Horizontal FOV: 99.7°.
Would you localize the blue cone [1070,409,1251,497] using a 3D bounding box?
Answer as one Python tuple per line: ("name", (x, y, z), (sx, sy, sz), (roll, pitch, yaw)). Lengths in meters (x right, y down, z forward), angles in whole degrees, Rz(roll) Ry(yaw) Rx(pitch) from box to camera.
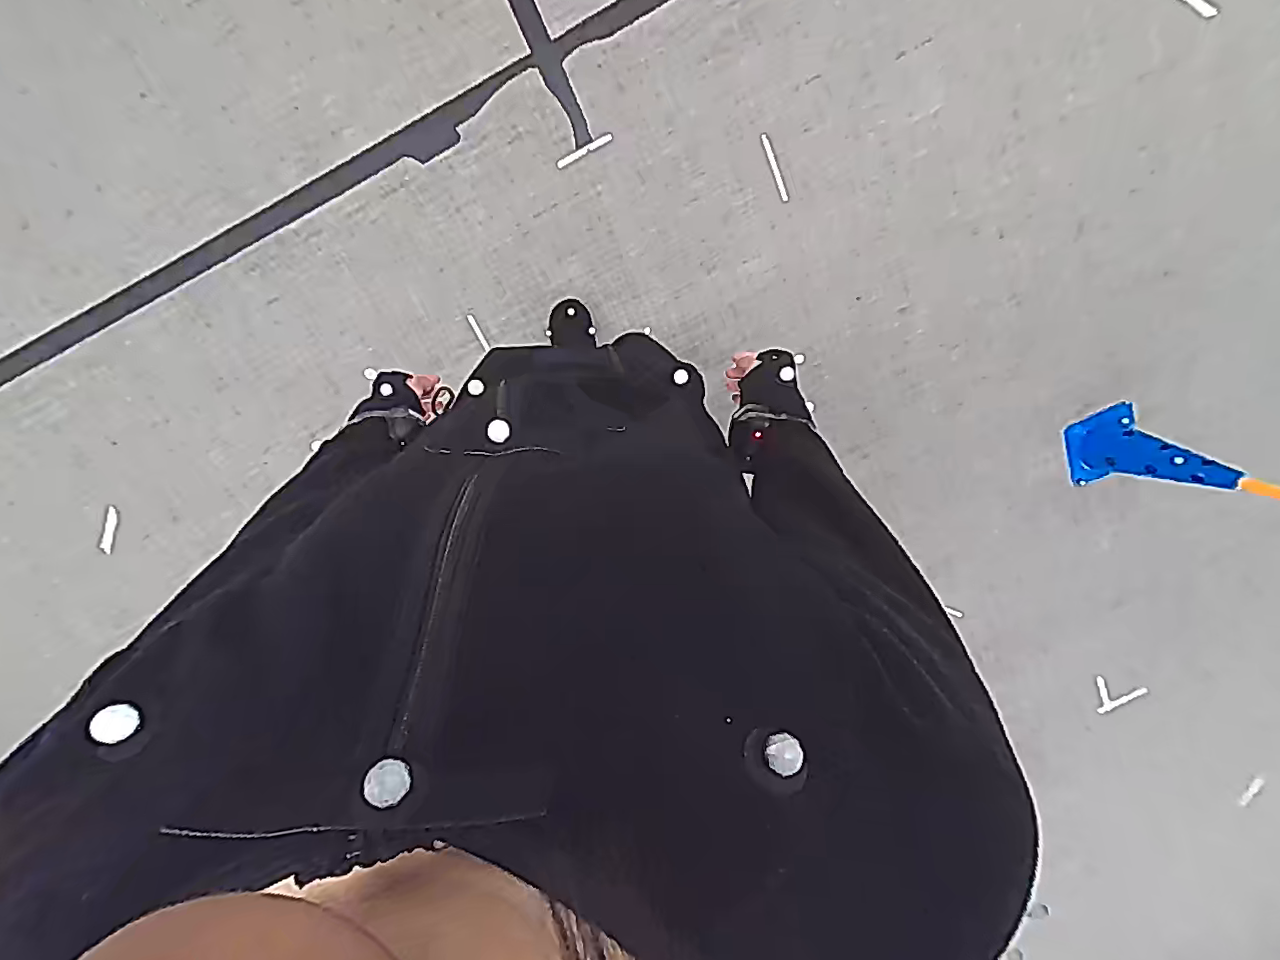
("blue cone", (1.336, -0.045, 1.385), (0.193, 0.380, 0.192), (-22, 109, 3))
